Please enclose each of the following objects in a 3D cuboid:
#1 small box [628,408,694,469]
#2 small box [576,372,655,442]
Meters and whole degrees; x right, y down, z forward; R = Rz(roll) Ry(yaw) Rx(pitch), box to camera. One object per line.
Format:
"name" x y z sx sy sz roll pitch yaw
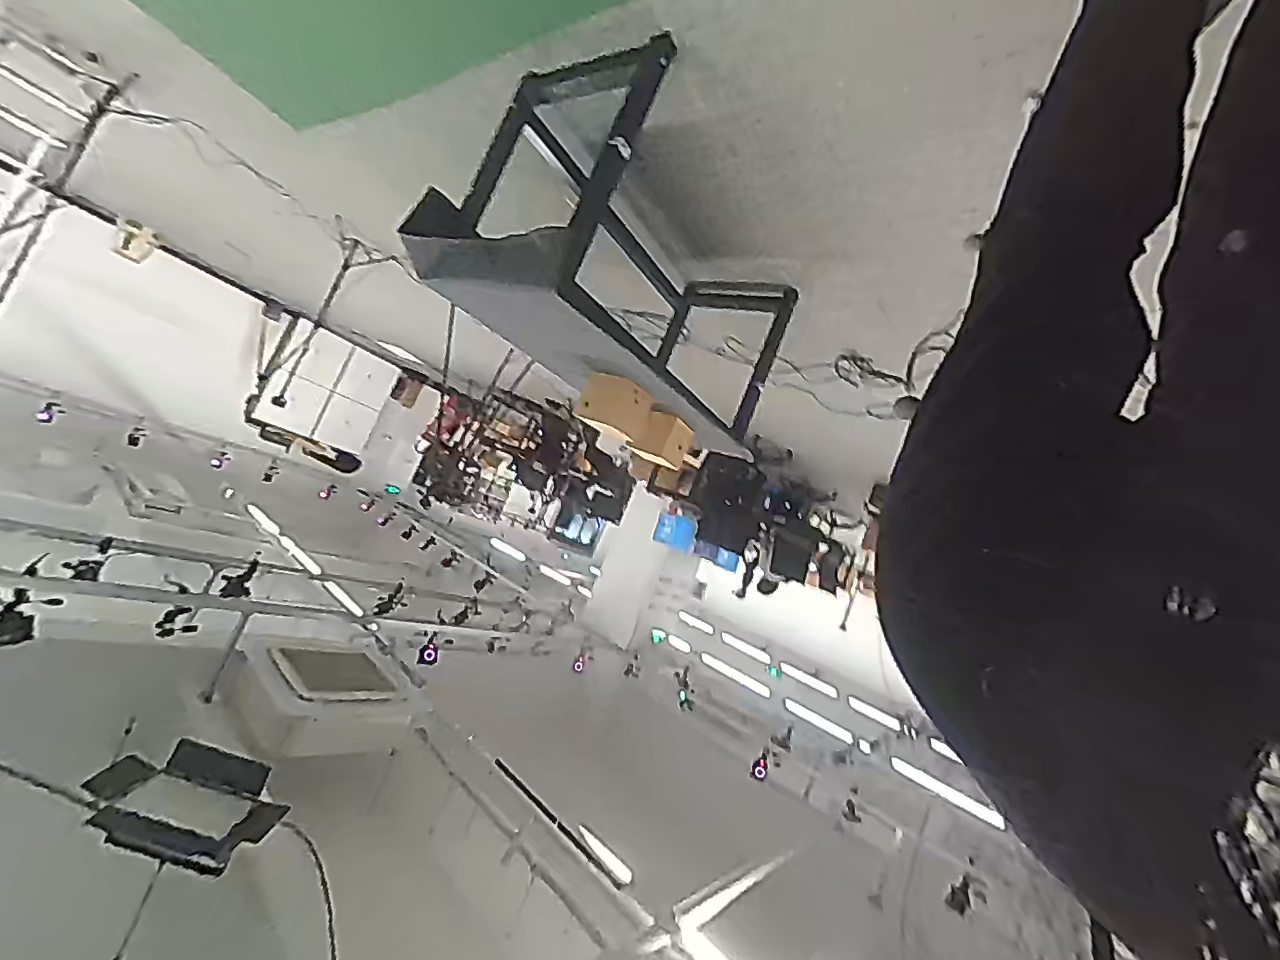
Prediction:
"small box" 0.090 -0.164 2.084 0.179 0.176 0.168 21 175 32
"small box" -0.080 -0.254 1.851 0.179 0.176 0.168 20 175 37
